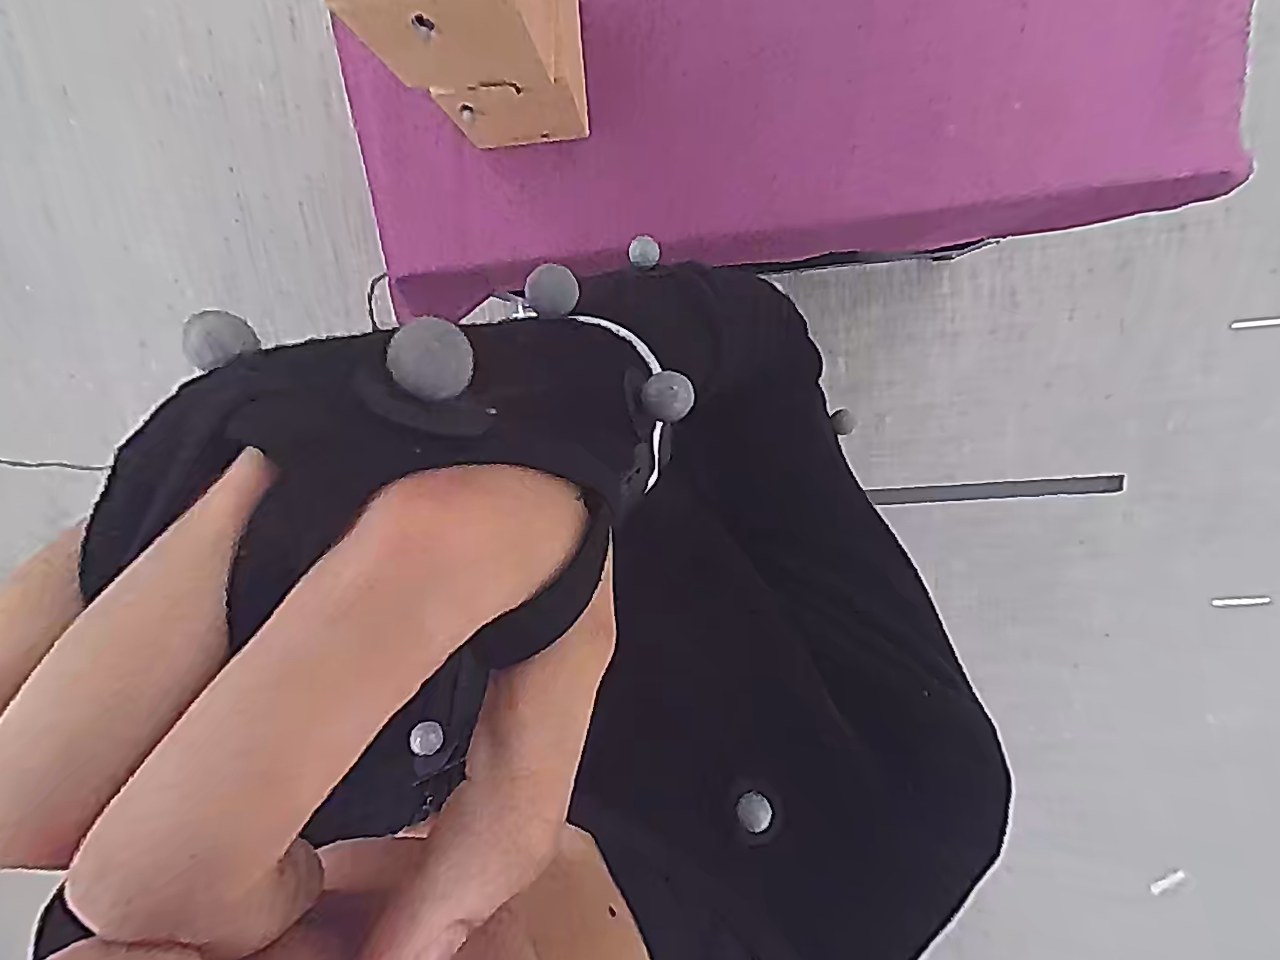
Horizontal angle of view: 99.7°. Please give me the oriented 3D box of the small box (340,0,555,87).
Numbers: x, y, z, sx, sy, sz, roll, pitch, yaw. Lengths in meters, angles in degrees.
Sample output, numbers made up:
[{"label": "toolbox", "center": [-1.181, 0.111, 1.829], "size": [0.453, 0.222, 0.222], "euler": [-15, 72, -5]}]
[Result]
[{"label": "small box", "center": [-0.187, -0.519, 0.532], "size": [0.179, 0.176, 0.168], "euler": [3, 103, 3]}]
